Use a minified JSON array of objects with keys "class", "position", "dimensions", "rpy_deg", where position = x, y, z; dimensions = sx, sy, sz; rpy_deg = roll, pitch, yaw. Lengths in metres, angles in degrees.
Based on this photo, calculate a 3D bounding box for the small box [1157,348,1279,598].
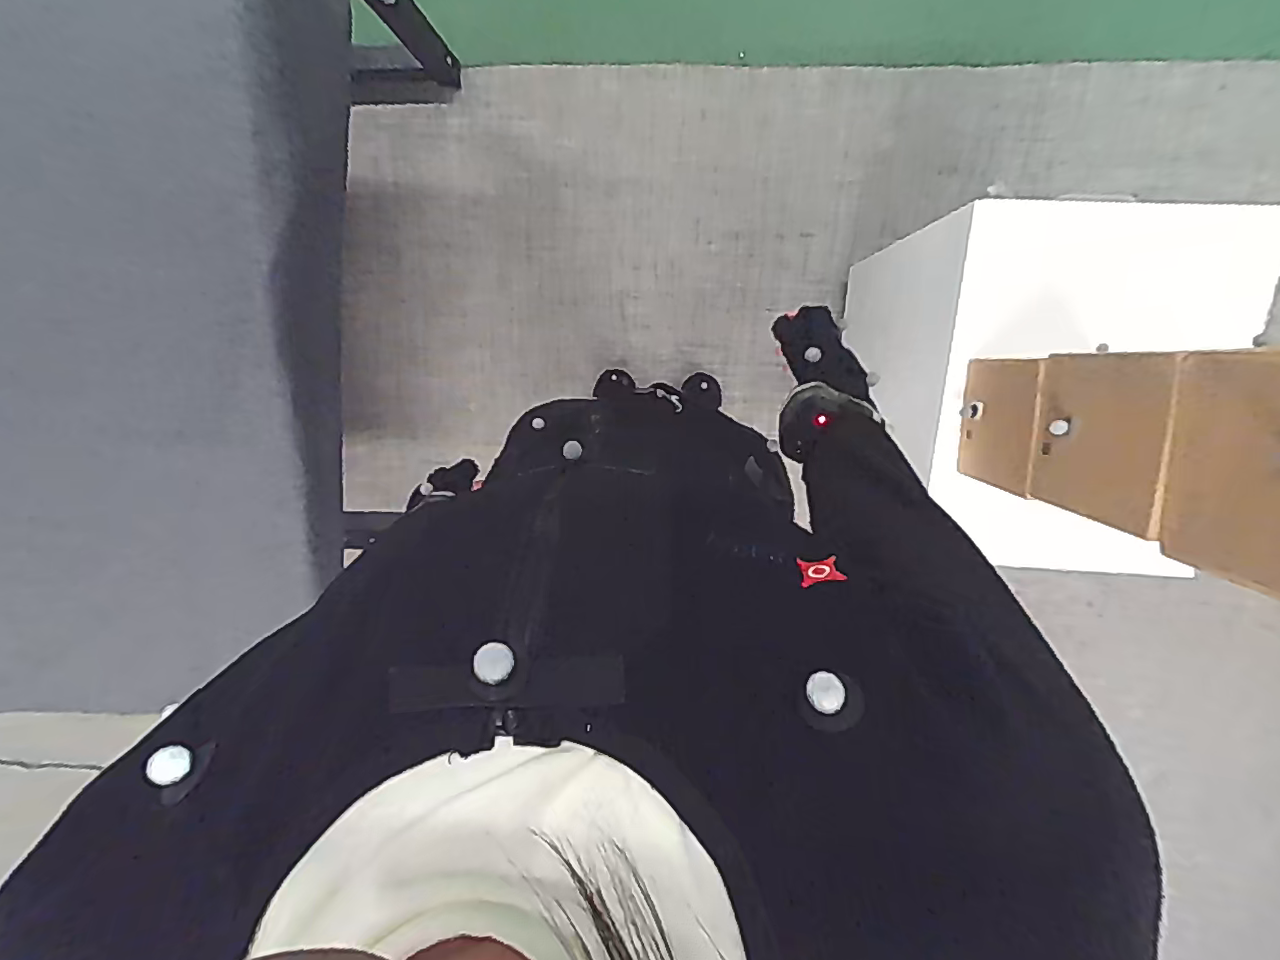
[{"class":"small box","position":[0.509,-0.005,0.365],"dimensions":[0.168,0.176,0.179],"rpy_deg":[-3,102,5]}]

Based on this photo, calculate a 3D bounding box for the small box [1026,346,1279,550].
[{"class":"small box","position":[0.524,-0.041,0.524],"dimensions":[0.179,0.176,0.168],"rpy_deg":[-3,102,4]}]

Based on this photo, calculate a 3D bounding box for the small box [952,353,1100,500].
[{"class":"small box","position":[0.531,-0.074,0.684],"dimensions":[0.179,0.176,0.168],"rpy_deg":[-1,102,6]}]
